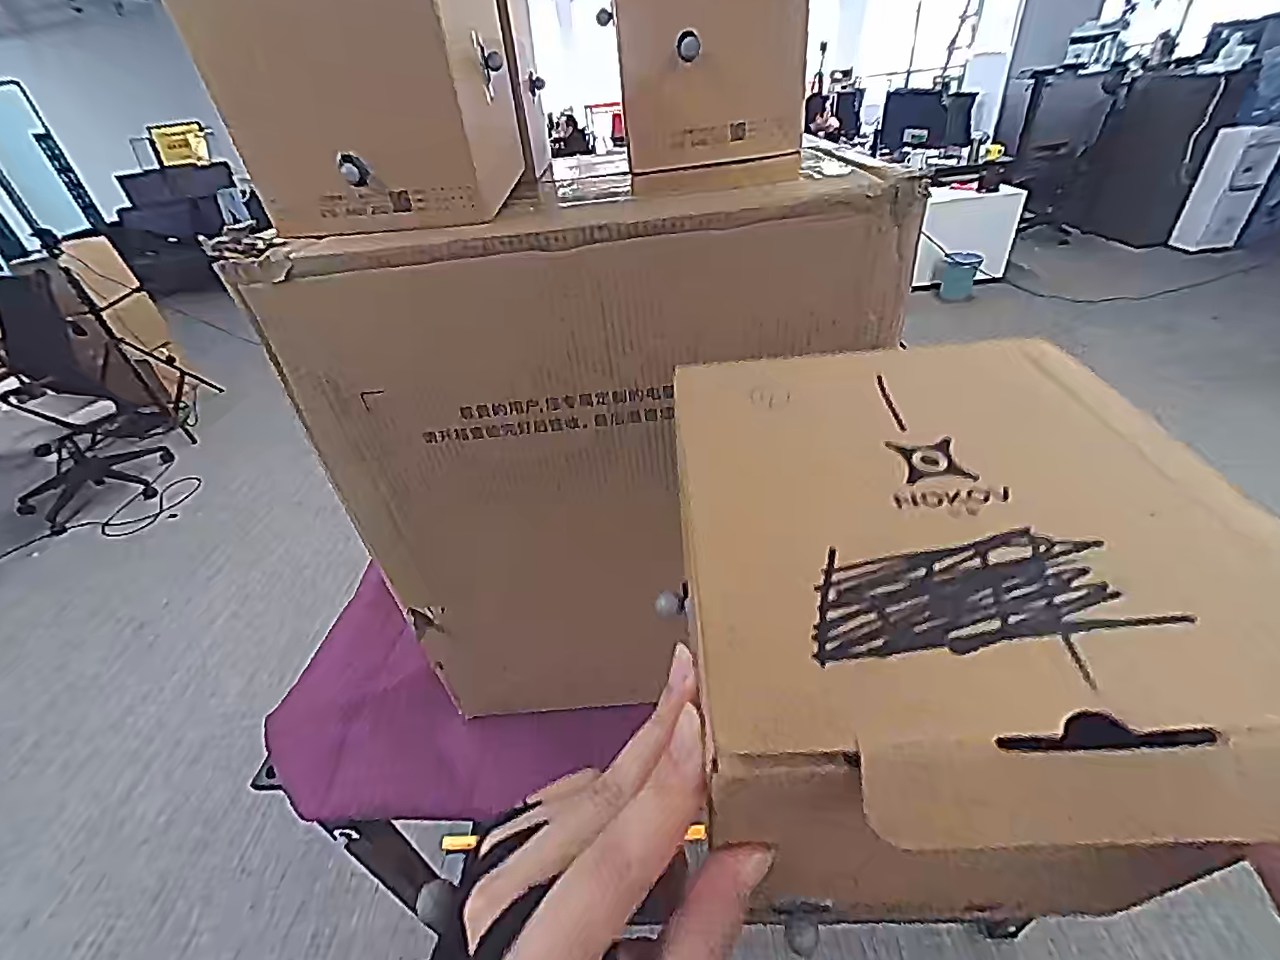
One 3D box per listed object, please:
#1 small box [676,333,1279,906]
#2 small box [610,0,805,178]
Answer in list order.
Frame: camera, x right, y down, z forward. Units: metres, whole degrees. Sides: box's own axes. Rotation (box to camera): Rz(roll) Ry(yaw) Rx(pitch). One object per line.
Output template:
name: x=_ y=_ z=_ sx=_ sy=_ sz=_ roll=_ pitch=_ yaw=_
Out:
small box: x=0.105 y=0.060 z=0.230 sx=0.168 sy=0.176 sz=0.179 roll=-4 pitch=41 yaw=4
small box: x=0.062 y=-0.409 z=0.537 sx=0.168 sy=0.176 sz=0.179 roll=-7 pitch=35 yaw=2
